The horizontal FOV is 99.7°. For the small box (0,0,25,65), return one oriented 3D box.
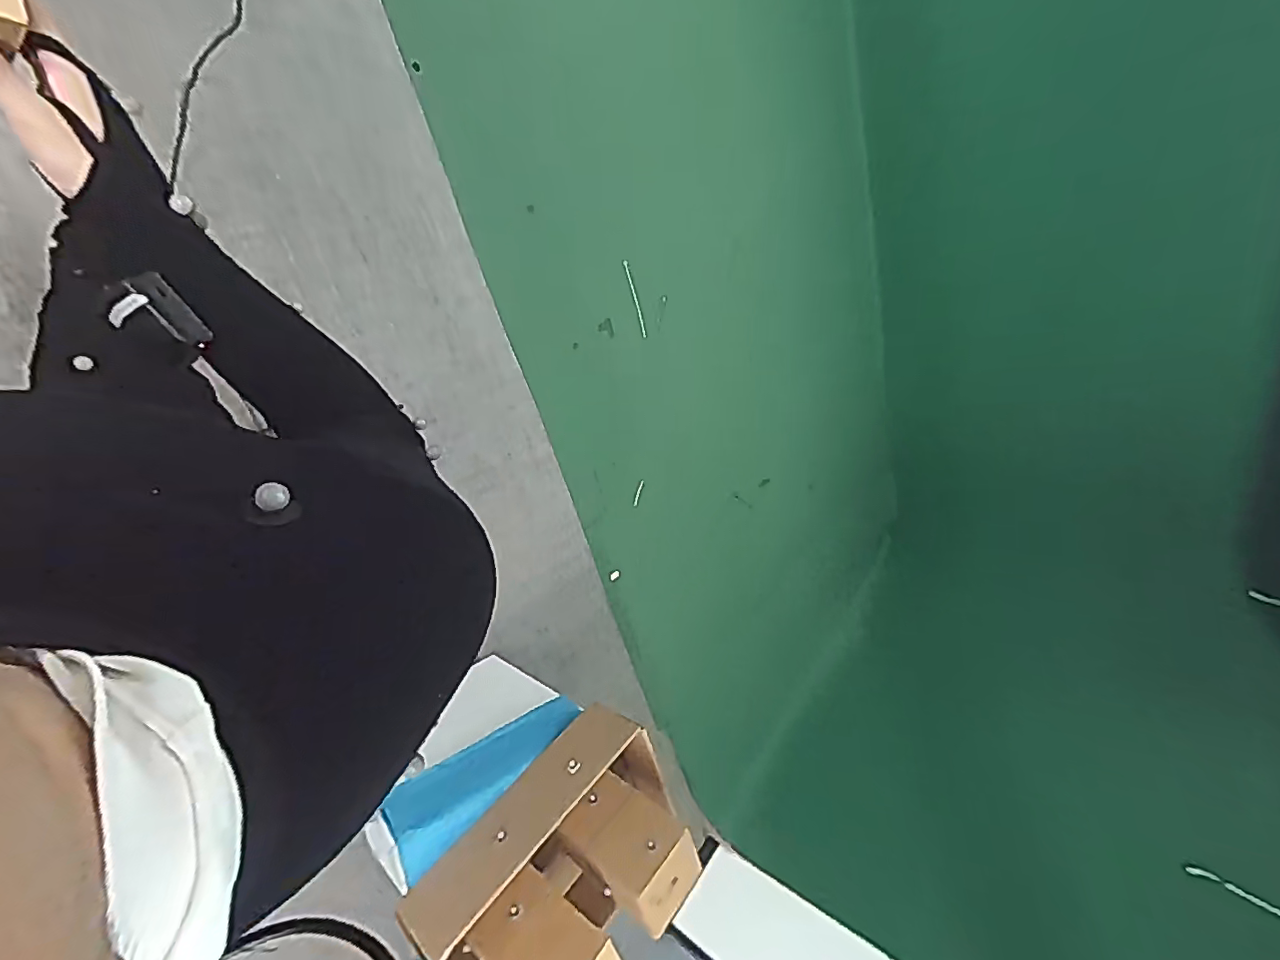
[{"bbox_3d":[-0.463,-0.347,0.275,0.179,0.176,0.168,-14,112,-50],"label":"small box"}]

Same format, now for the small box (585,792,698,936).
[{"bbox_3d":[0.005,0.864,1.237,0.179,0.176,0.168,-35,121,-36],"label":"small box"}]
